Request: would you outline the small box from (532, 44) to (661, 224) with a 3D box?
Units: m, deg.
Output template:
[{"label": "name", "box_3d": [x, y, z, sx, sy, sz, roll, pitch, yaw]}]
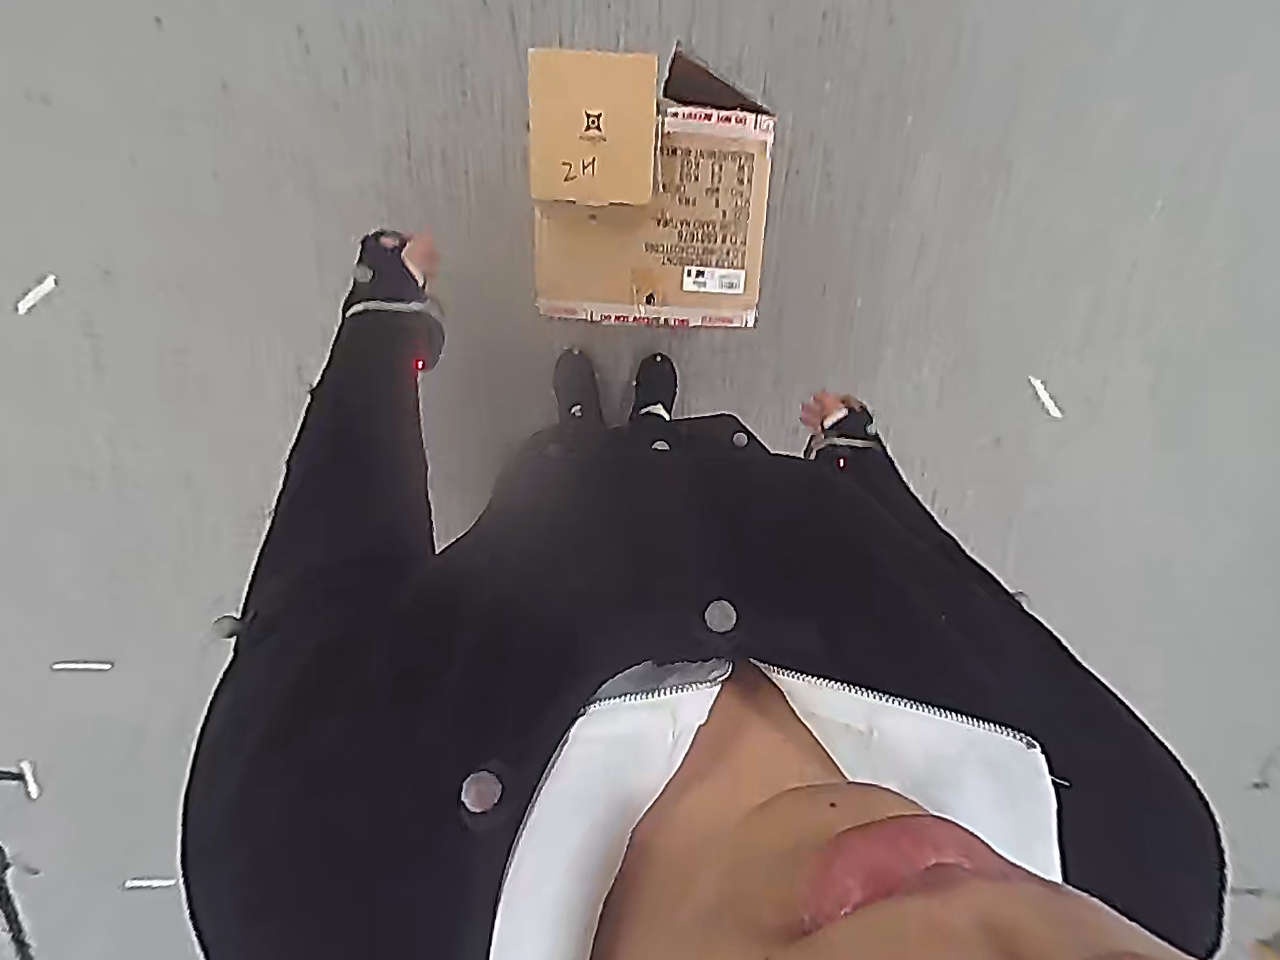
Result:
[{"label": "small box", "box_3d": [-0.063, -0.482, 0.779, 0.168, 0.176, 0.179, 2, 108, -3]}]
